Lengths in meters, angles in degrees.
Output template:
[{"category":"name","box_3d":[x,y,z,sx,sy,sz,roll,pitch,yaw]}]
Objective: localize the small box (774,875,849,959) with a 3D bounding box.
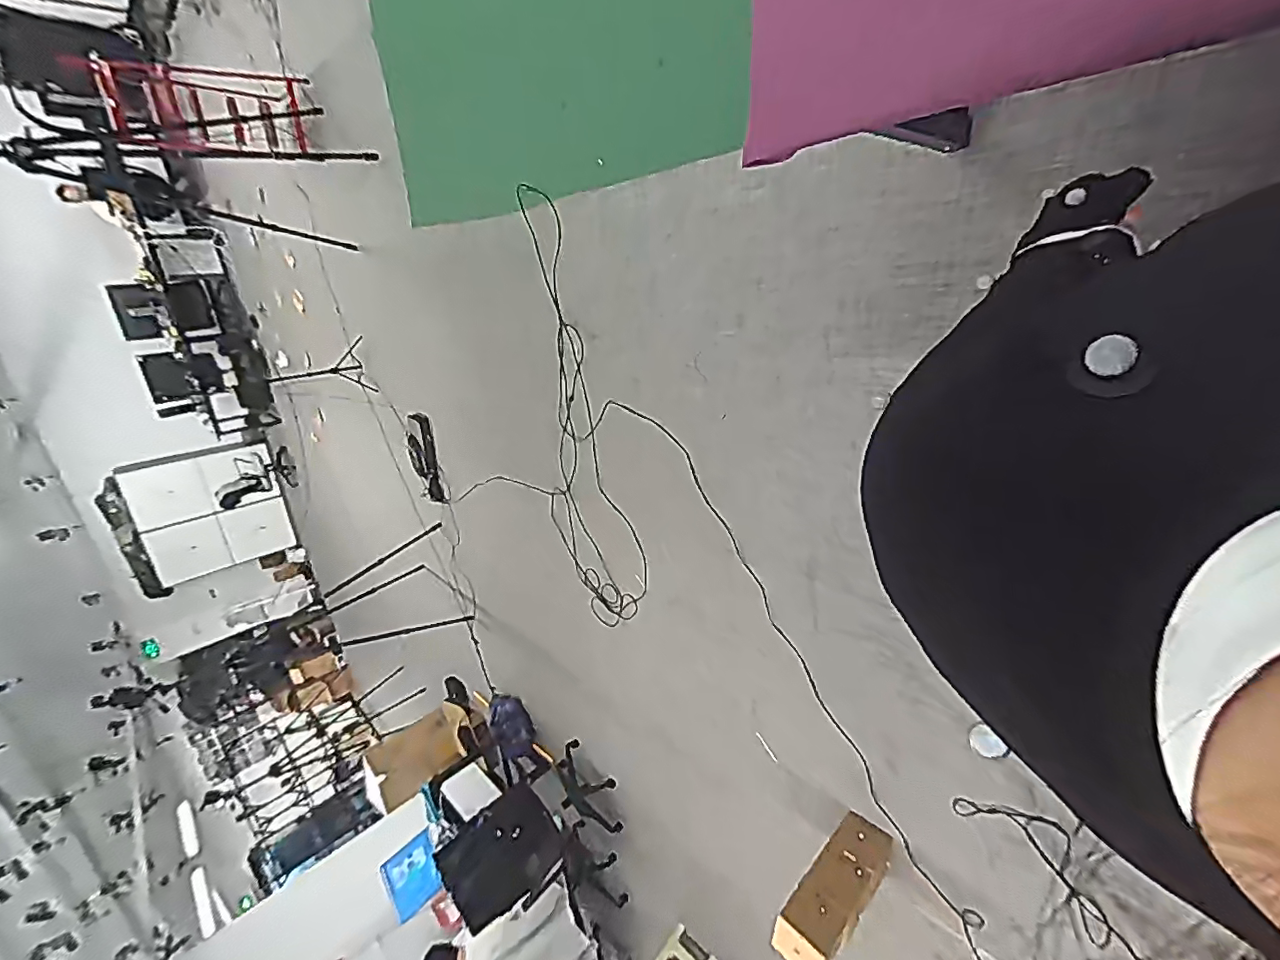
[{"category":"small box","box_3d":[0.563,1.459,1.769,0.168,0.176,0.179,24,123,39]}]

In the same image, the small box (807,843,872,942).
[{"category":"small box","box_3d":[0.683,1.415,1.869,0.168,0.176,0.179,18,121,42]}]

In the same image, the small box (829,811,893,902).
[{"category":"small box","box_3d":[0.804,1.362,1.972,0.168,0.176,0.179,16,117,46]}]
